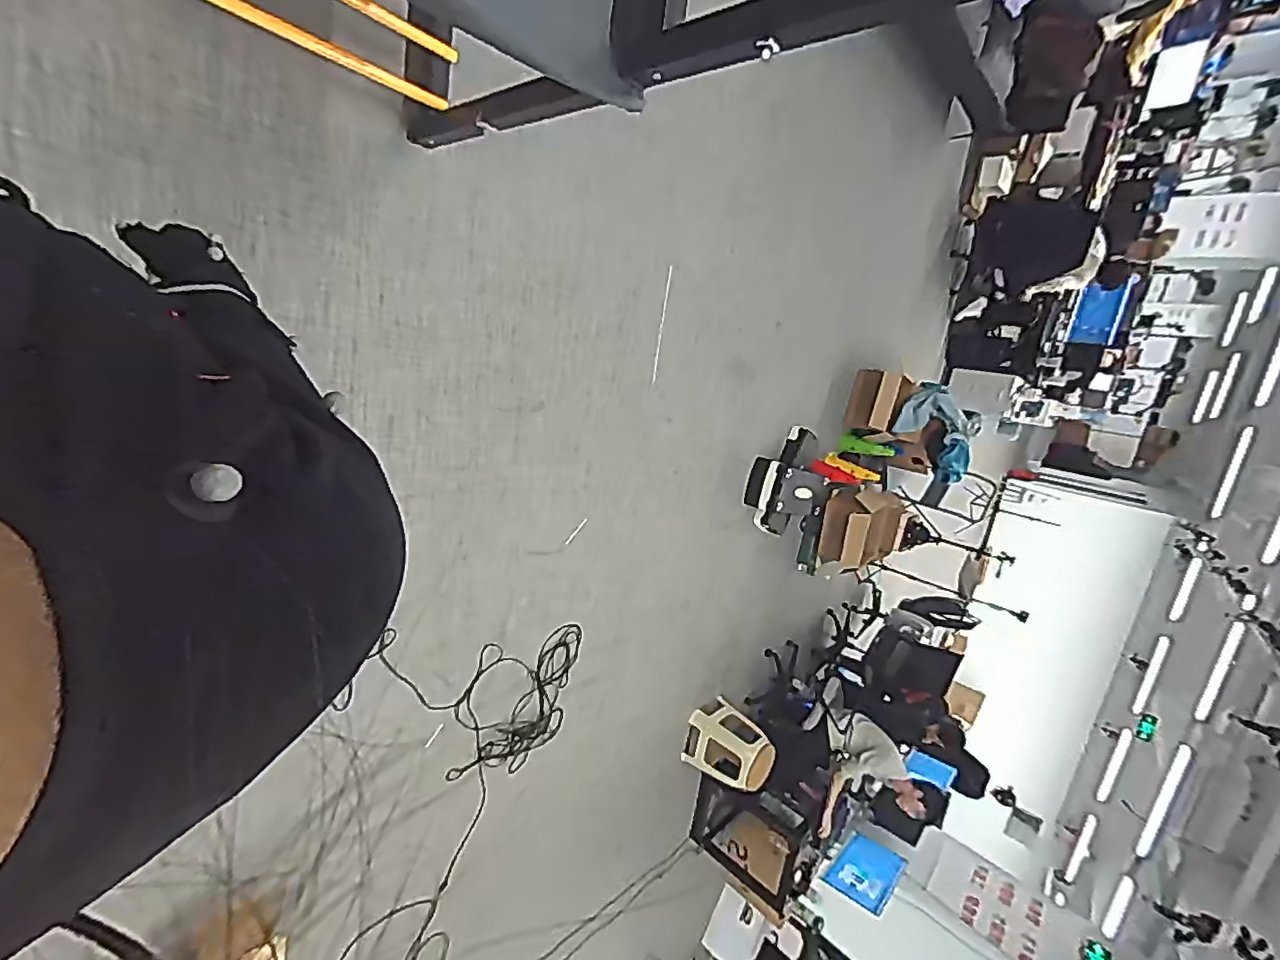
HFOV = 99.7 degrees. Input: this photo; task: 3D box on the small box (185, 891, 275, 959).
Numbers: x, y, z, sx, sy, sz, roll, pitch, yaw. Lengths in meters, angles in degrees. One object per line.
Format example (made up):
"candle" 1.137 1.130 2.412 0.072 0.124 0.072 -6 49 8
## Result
"small box" -1.130 1.300 1.489 0.168 0.176 0.179 -4 108 -49
